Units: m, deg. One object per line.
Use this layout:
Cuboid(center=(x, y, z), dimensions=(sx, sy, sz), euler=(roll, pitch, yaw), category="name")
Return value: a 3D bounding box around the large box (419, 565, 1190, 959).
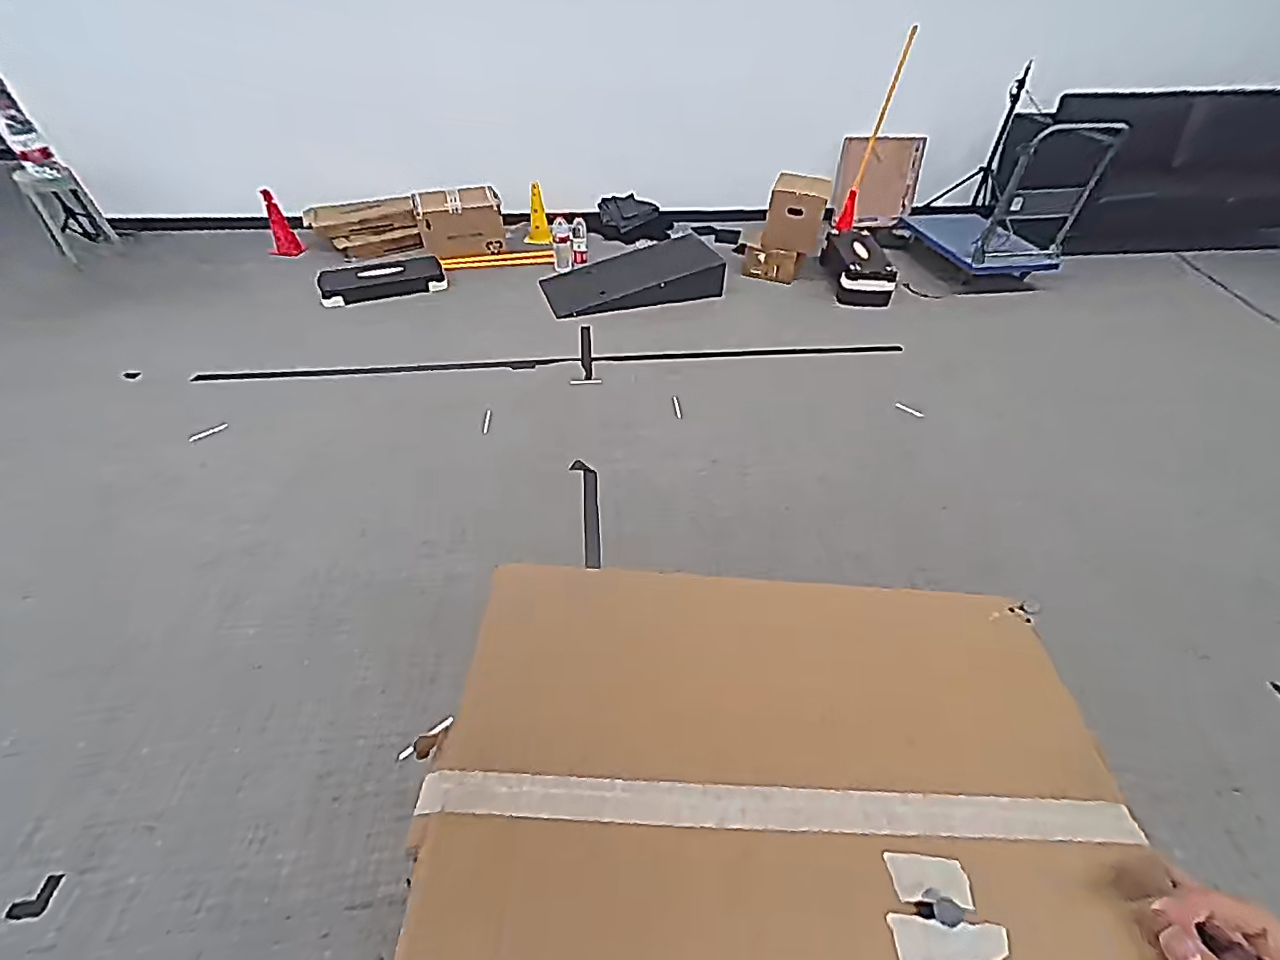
Cuboid(center=(0.077, 0.292, 0.429), dimensions=(0.408, 0.320, 0.320), euler=(5, 46, -3), category="large box")
